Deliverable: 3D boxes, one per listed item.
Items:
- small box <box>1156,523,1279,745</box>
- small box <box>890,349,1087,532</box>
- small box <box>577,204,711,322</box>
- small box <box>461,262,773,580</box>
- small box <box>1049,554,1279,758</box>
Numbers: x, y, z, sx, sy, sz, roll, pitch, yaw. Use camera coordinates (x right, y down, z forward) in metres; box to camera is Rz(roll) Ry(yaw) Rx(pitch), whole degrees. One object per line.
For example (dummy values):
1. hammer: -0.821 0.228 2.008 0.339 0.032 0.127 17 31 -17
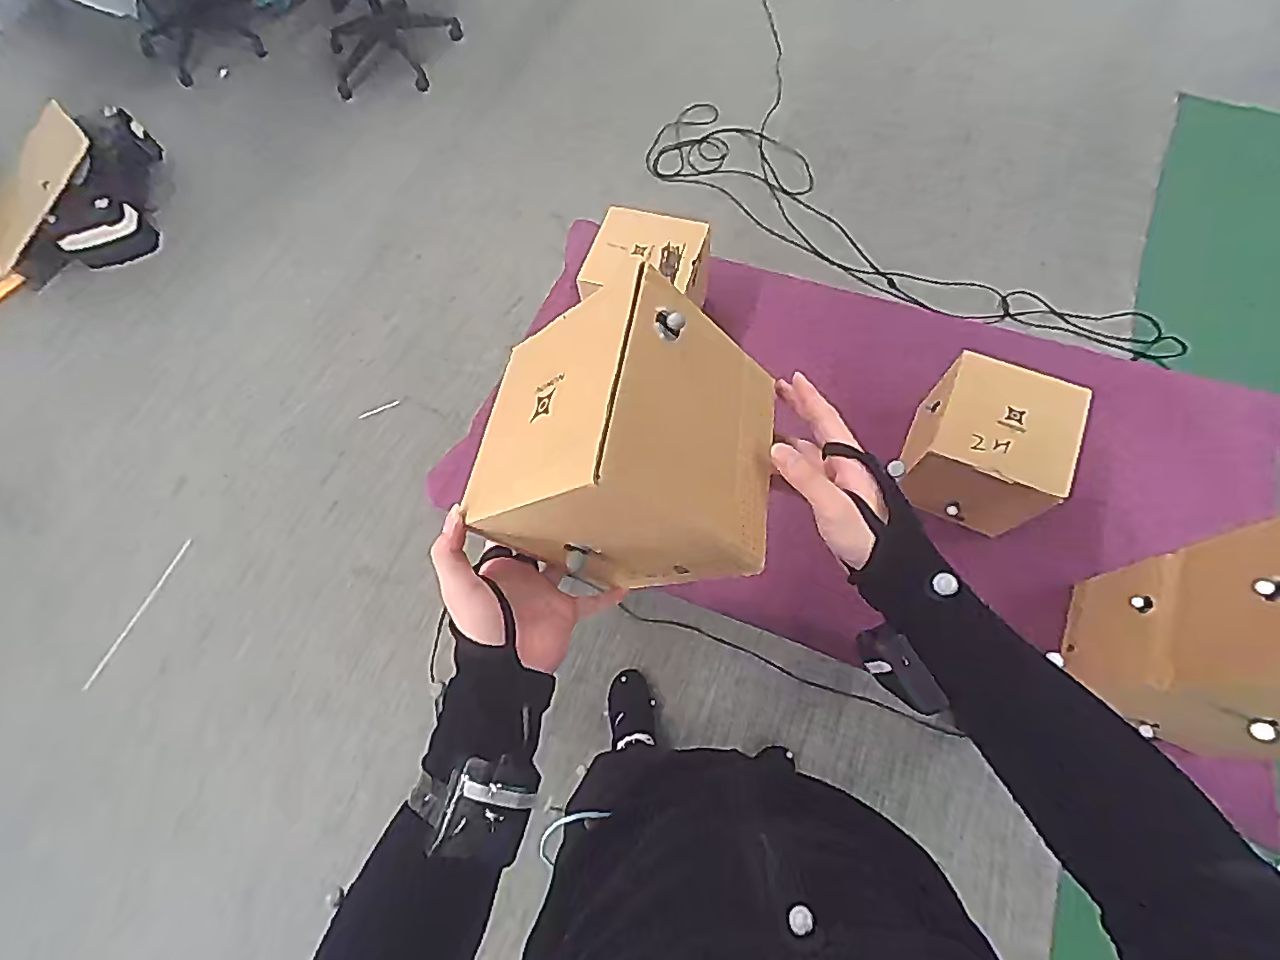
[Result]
1. small box: 0.651 0.151 0.515 0.168 0.176 0.179 23 71 15
2. small box: 0.491 -0.050 0.785 0.168 0.176 0.179 24 72 14
3. small box: 0.014 -0.335 0.934 0.179 0.176 0.168 16 71 11
4. small box: -0.010 -0.025 0.435 0.168 0.176 0.179 -16 53 44
5. small box: 0.660 0.216 0.664 0.179 0.176 0.168 24 71 13
